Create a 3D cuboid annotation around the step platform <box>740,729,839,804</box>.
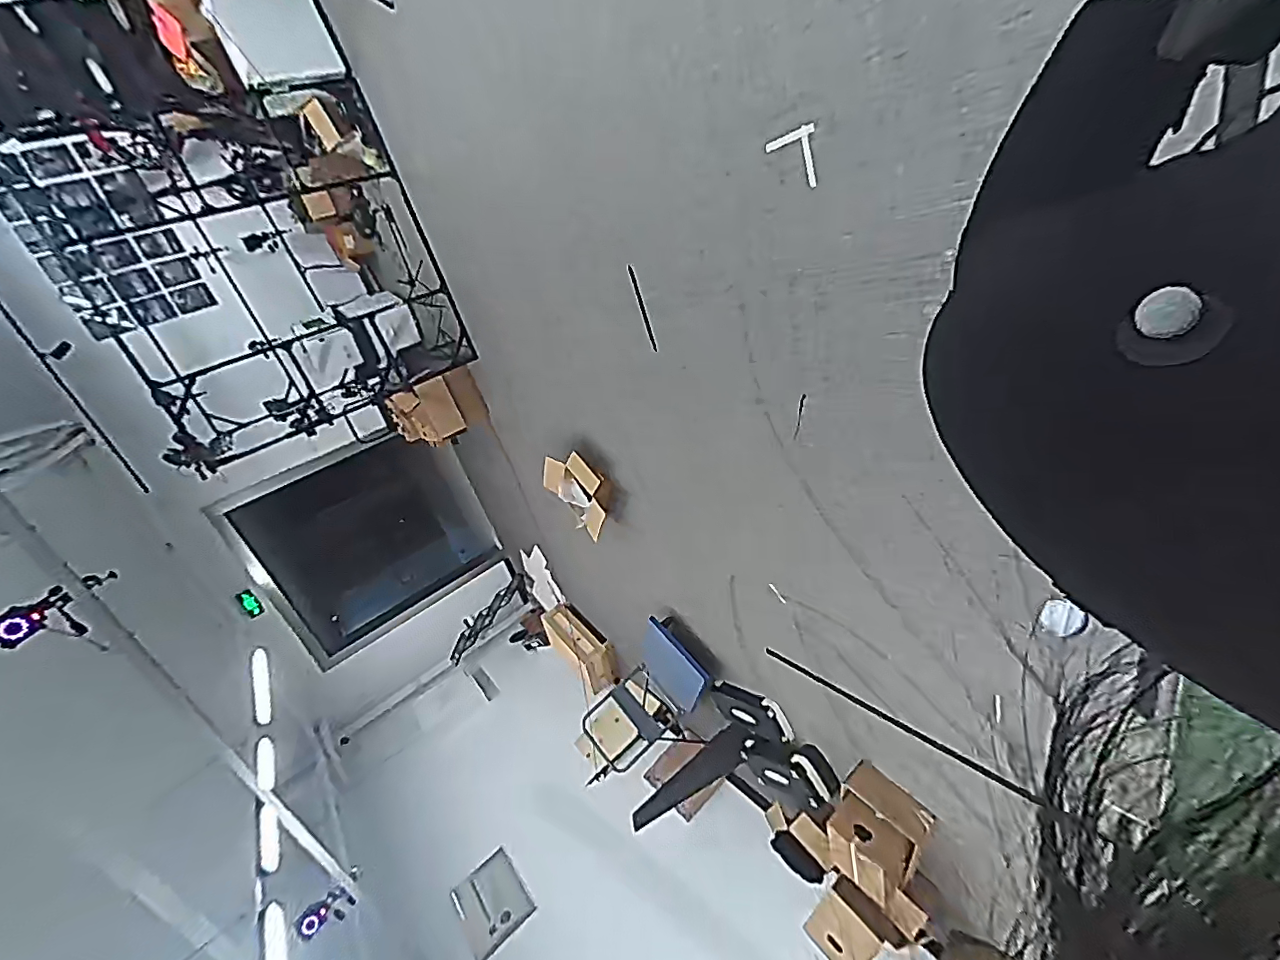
[{"bbox_3d":[0.926,1.817,3.452,0.286,0.204,0.684,57,152,2],"label":"step platform"}]
